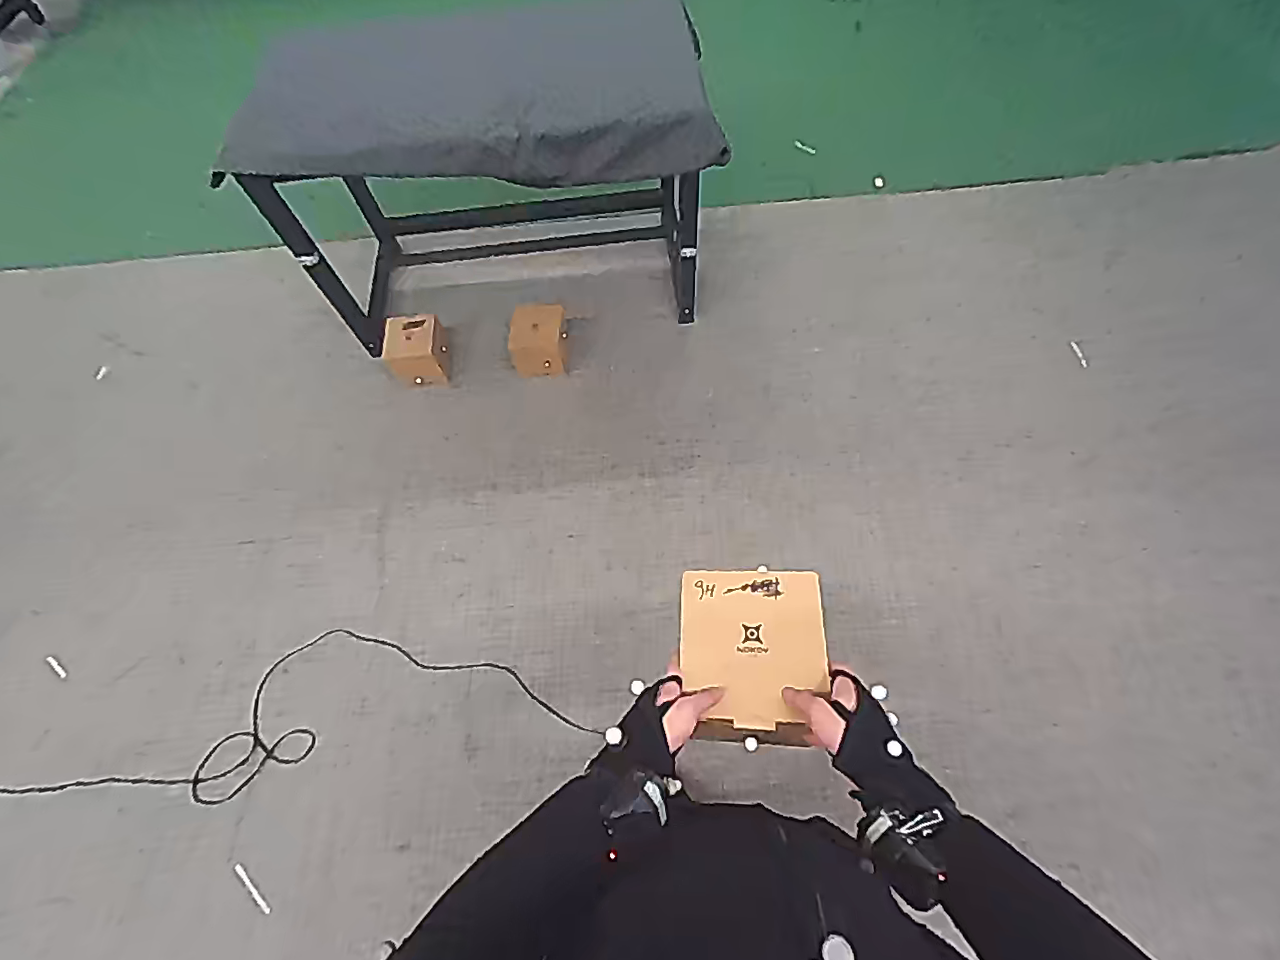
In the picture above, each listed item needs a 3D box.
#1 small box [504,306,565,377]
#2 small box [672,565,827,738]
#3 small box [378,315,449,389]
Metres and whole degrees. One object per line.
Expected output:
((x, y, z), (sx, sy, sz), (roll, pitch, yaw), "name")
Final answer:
((-0.351, -0.465, 1.837), (0.168, 0.176, 0.179), (0, 63, 2), "small box")
((0.133, 0.219, 0.679), (0.168, 0.176, 0.179), (-1, 59, 9), "small box")
((-0.764, -0.434, 1.842), (0.168, 0.176, 0.179), (-7, 65, 1), "small box")
